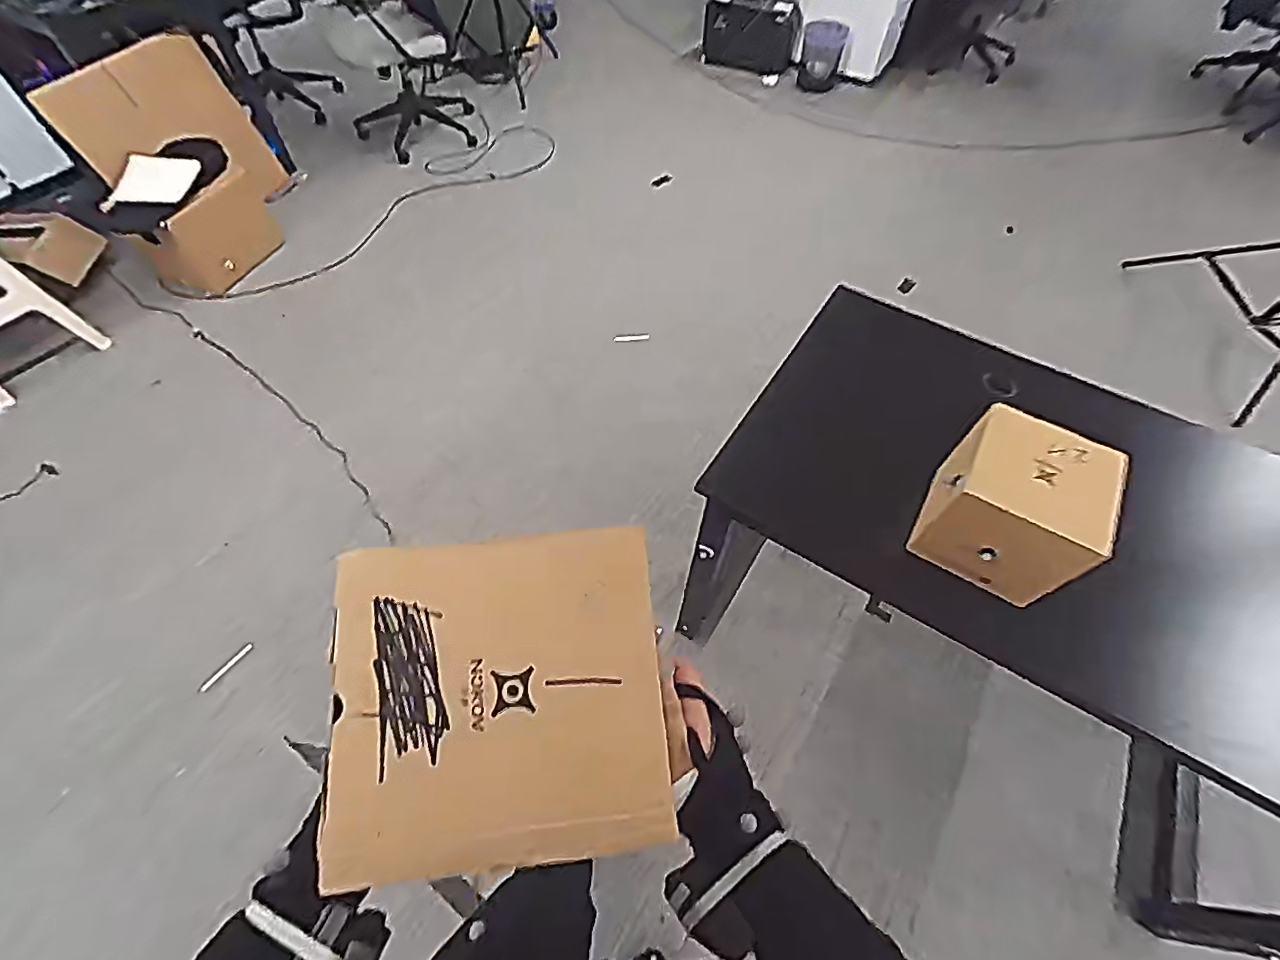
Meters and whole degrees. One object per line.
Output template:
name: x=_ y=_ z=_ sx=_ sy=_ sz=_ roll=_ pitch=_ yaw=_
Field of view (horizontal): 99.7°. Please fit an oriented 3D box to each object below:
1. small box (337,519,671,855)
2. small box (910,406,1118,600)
small box: x=-0.078 y=0.130 z=0.378 sx=0.179 sy=0.176 sz=0.168 roll=-5 pitch=74 yaw=-4
small box: x=0.507 y=0.037 z=0.754 sx=0.168 sy=0.176 sz=0.179 roll=29 pitch=60 yaw=16
